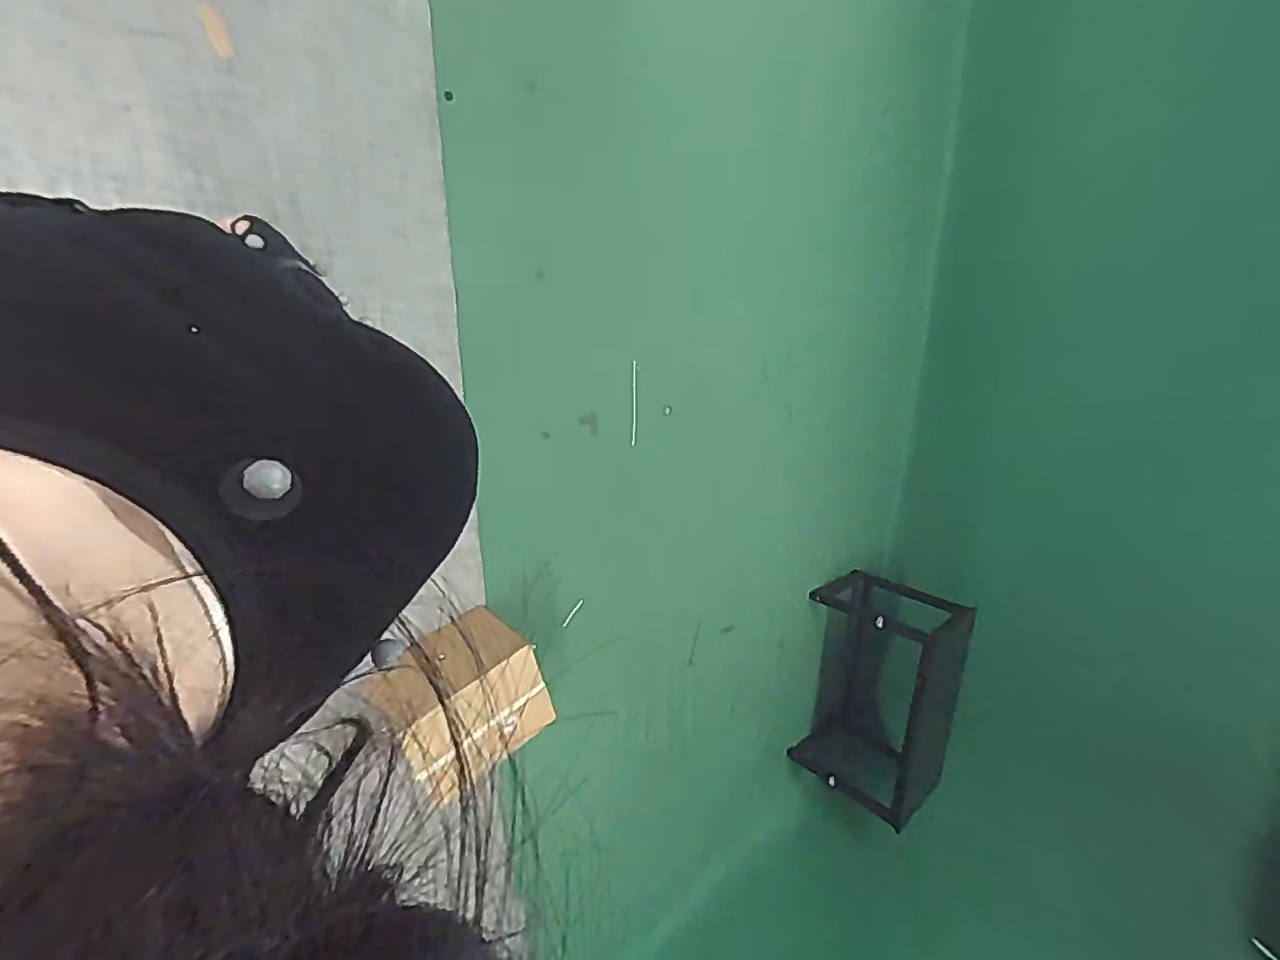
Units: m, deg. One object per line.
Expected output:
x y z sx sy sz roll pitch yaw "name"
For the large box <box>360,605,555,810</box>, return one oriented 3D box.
-0.533 0.648 1.609 0.408 0.320 0.320 -30 122 -34 "large box"
